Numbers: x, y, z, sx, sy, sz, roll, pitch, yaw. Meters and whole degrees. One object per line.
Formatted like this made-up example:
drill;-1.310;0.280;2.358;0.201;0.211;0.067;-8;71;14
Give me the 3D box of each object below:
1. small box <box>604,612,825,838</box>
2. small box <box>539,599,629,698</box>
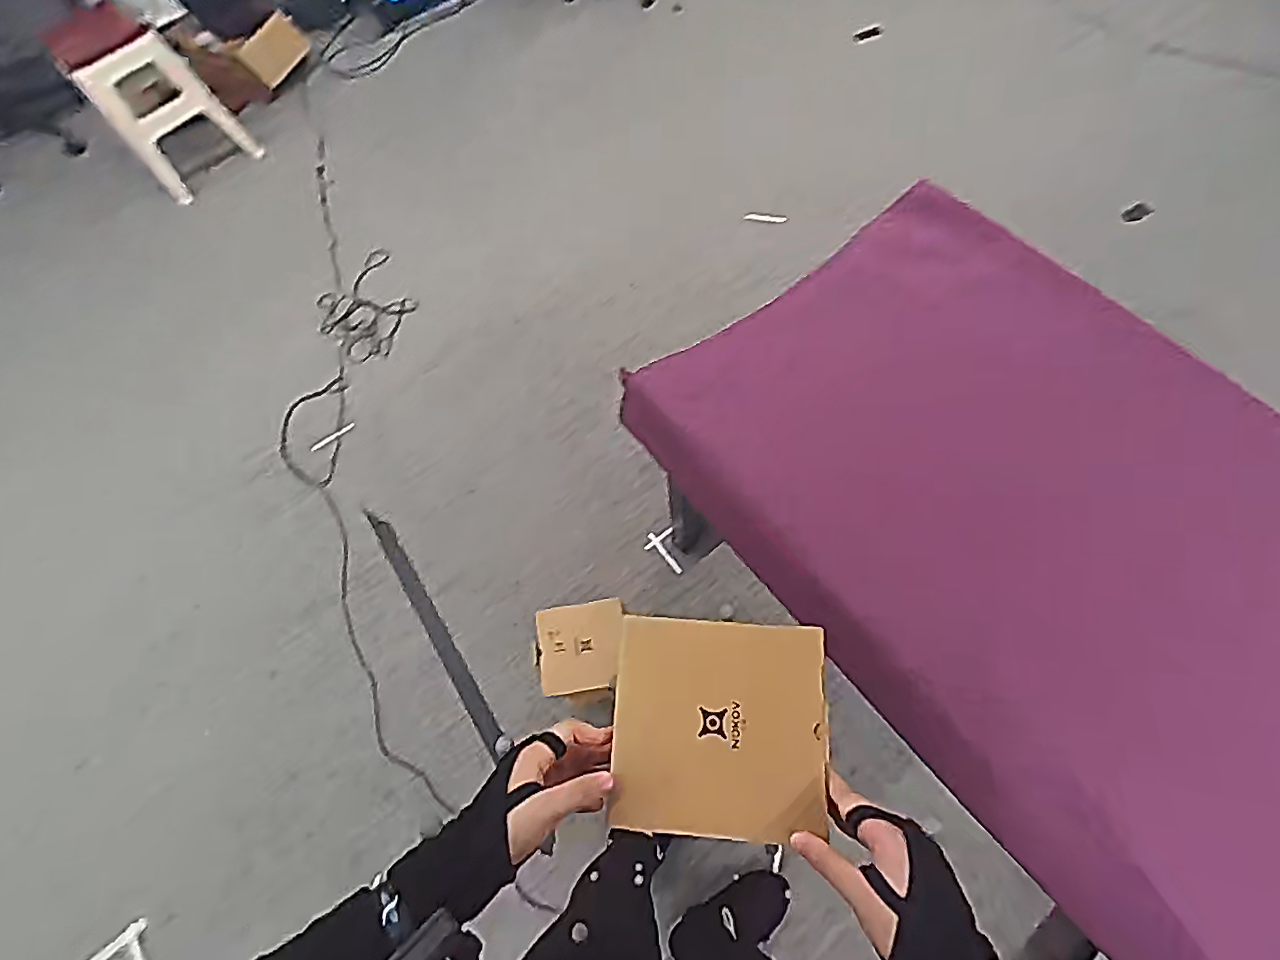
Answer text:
small box;0.066;0.224;0.524;0.179;0.176;0.168;1;71;4
small box;-0.100;0.353;1.122;0.179;0.176;0.168;-10;66;1
